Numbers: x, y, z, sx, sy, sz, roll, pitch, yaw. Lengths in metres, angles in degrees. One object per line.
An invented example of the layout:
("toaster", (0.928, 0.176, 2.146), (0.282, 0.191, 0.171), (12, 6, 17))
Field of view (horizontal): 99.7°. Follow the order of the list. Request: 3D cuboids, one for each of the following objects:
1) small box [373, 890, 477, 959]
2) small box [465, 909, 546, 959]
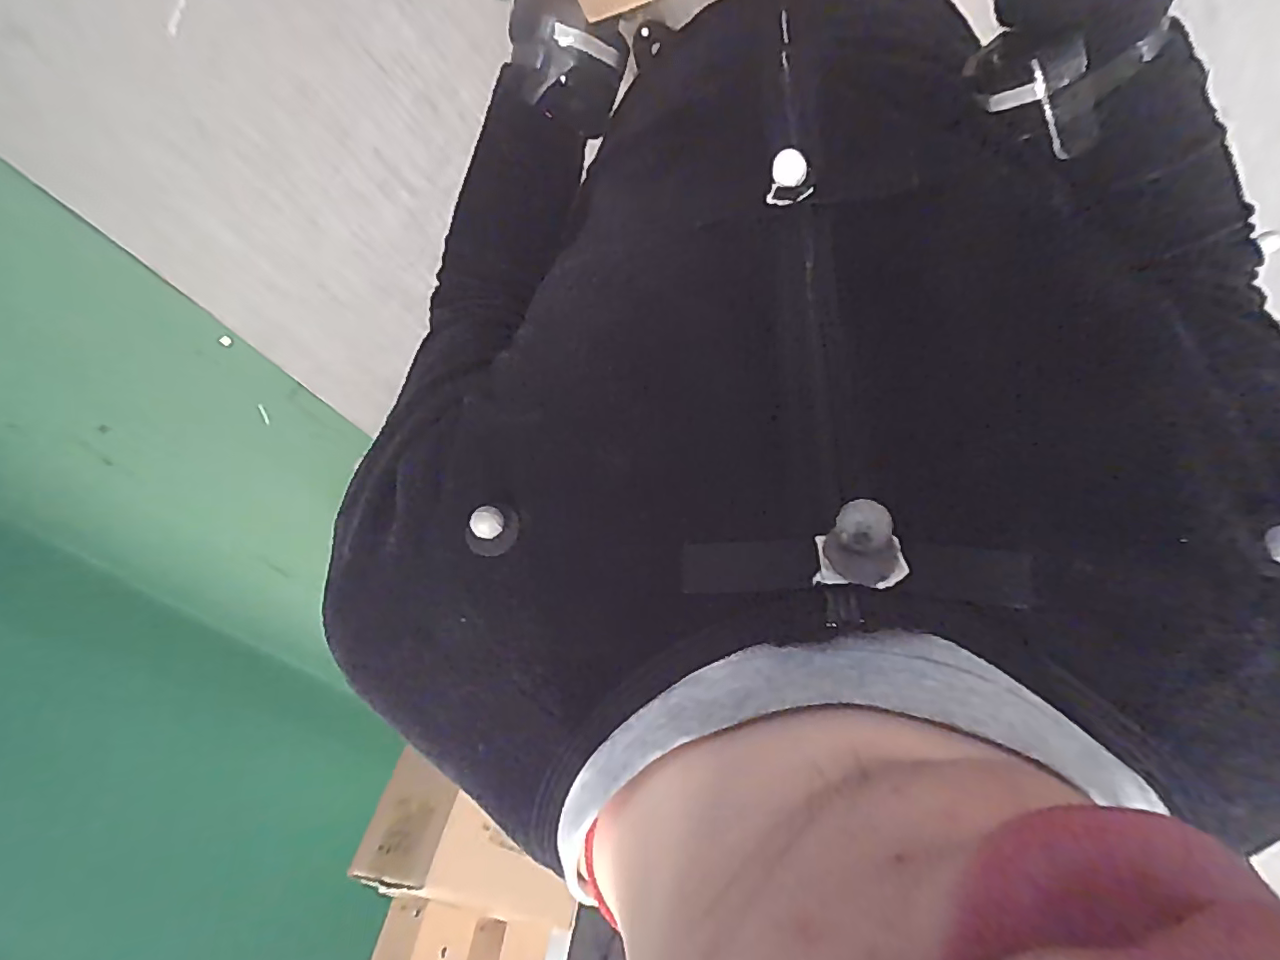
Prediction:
("small box", (-0.572, 1.215, 1.442), (0.168, 0.176, 0.179), (-25, 126, 29))
("small box", (-0.397, 1.365, 1.557), (0.168, 0.176, 0.179), (-25, 125, 30))
